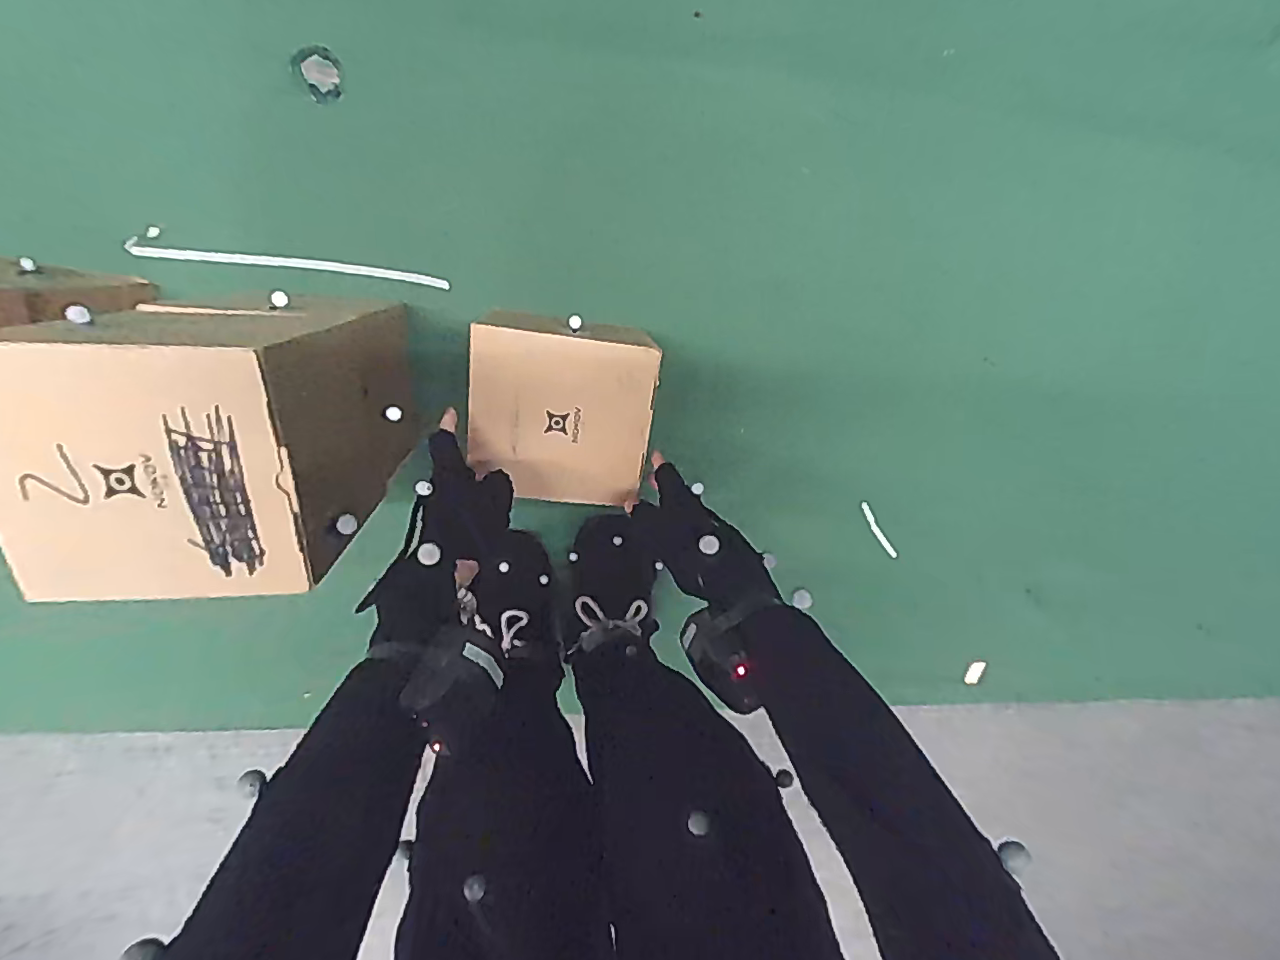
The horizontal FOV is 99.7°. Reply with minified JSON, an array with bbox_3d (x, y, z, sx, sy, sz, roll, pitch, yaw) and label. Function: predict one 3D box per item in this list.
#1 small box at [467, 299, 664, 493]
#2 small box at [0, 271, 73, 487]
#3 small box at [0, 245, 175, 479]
[{"bbox_3d":[-0.084,-0.099,0.597,0.179,0.176,0.168,6,111,-10],"label":"small box"},{"bbox_3d":[-0.565,-0.066,0.366,0.179,0.176,0.168,6,112,-10],"label":"small box"},{"bbox_3d":[-0.595,-0.121,0.520,0.168,0.176,0.179,7,111,-10],"label":"small box"}]
